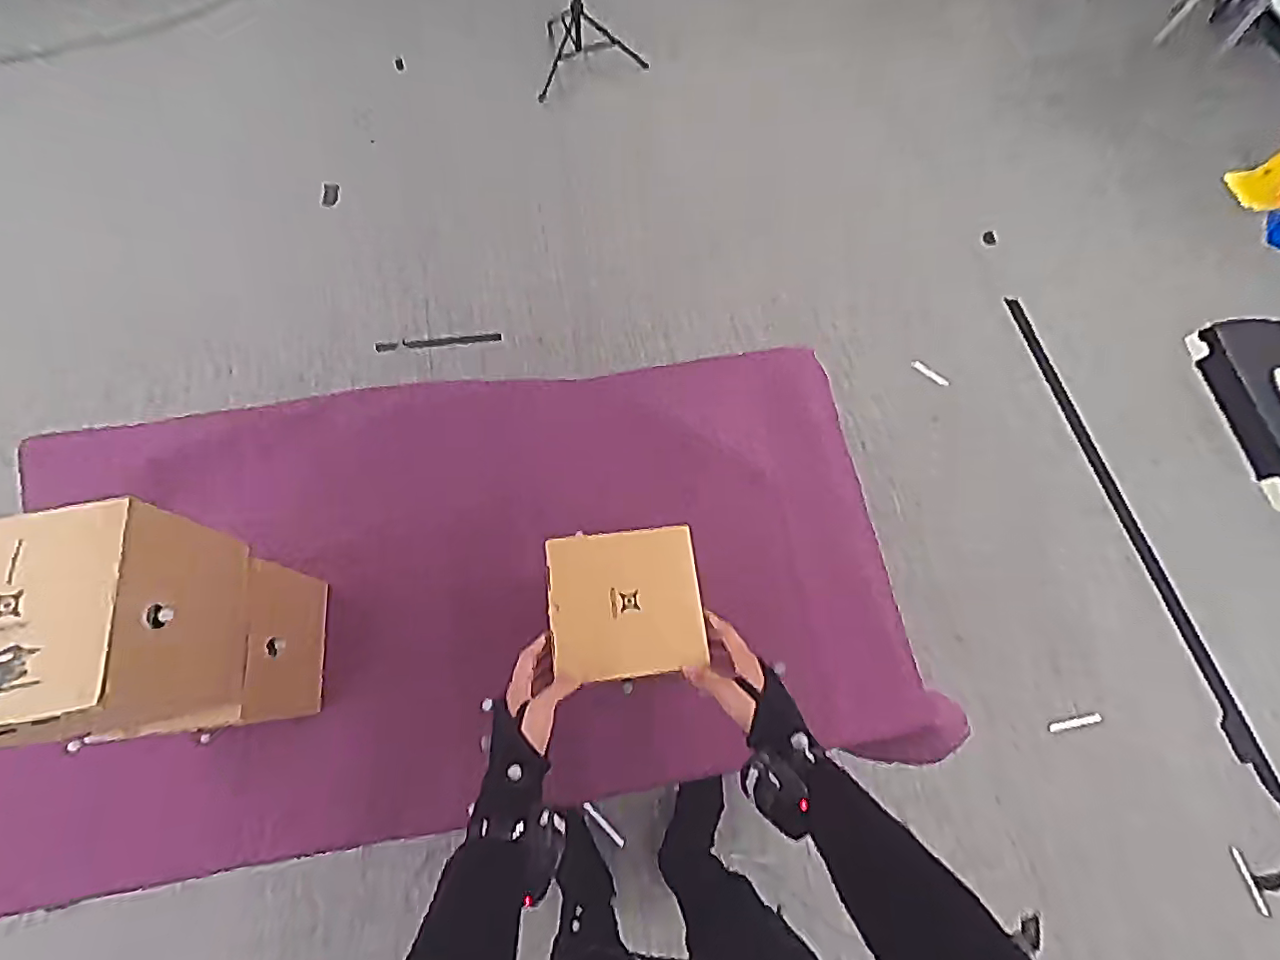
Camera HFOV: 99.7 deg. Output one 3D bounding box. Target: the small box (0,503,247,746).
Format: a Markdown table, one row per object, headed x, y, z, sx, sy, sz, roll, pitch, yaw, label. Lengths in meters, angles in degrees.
| x | y | z | sx | sy | sz | roll | pitch | yaw | label |
| --- | --- | --- | --- | --- | --- | --- | --- | --- | --- |
| -0.503 | 0.140 | 0.504 | 0.168 | 0.176 | 0.179 | -10 | 69 | -7 | small box |

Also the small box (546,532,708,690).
| x | y | z | sx | sy | sz | roll | pitch | yaw | label |
| --- | --- | --- | --- | --- | --- | --- | --- | --- | --- |
| -0.022 | 0.172 | 0.696 | 0.179 | 0.176 | 0.168 | -6 | 69 | -4 | small box |

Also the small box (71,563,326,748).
| x | y | z | sx | sy | sz | roll | pitch | yaw | label |
| --- | --- | --- | --- | --- | --- | --- | --- | --- | --- |
| -0.506 | 0.209 | 0.653 | 0.168 | 0.176 | 0.179 | -6 | 69 | -6 | small box |
